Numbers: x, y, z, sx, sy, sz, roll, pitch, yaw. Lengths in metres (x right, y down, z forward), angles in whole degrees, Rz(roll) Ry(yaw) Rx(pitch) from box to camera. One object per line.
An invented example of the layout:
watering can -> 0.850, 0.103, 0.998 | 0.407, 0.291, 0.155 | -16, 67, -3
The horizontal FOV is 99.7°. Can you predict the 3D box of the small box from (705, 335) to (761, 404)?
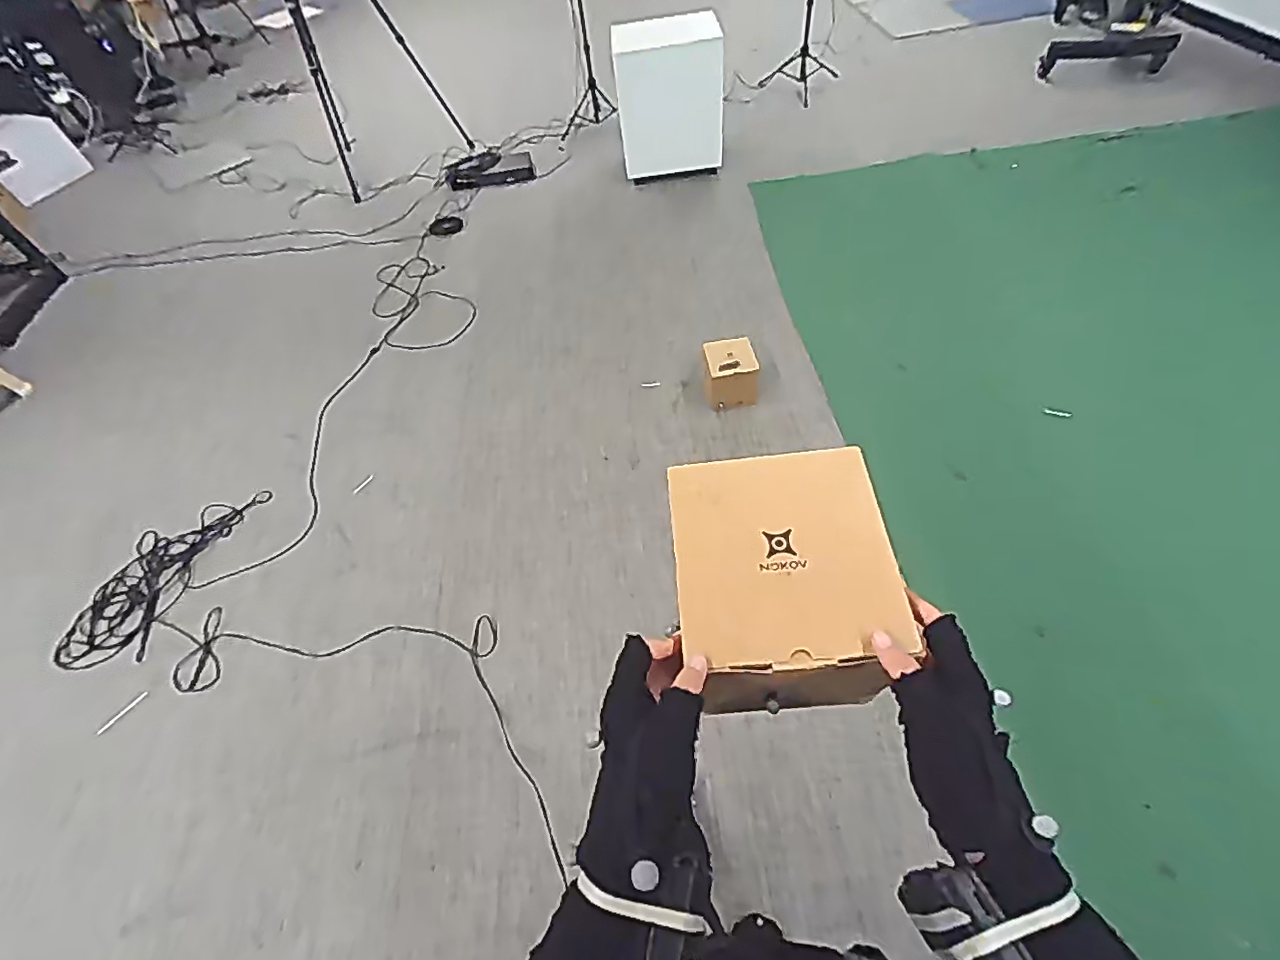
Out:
small box -> 0.330, -0.385, 1.923 | 0.168, 0.176, 0.179 | -9, 54, 1
